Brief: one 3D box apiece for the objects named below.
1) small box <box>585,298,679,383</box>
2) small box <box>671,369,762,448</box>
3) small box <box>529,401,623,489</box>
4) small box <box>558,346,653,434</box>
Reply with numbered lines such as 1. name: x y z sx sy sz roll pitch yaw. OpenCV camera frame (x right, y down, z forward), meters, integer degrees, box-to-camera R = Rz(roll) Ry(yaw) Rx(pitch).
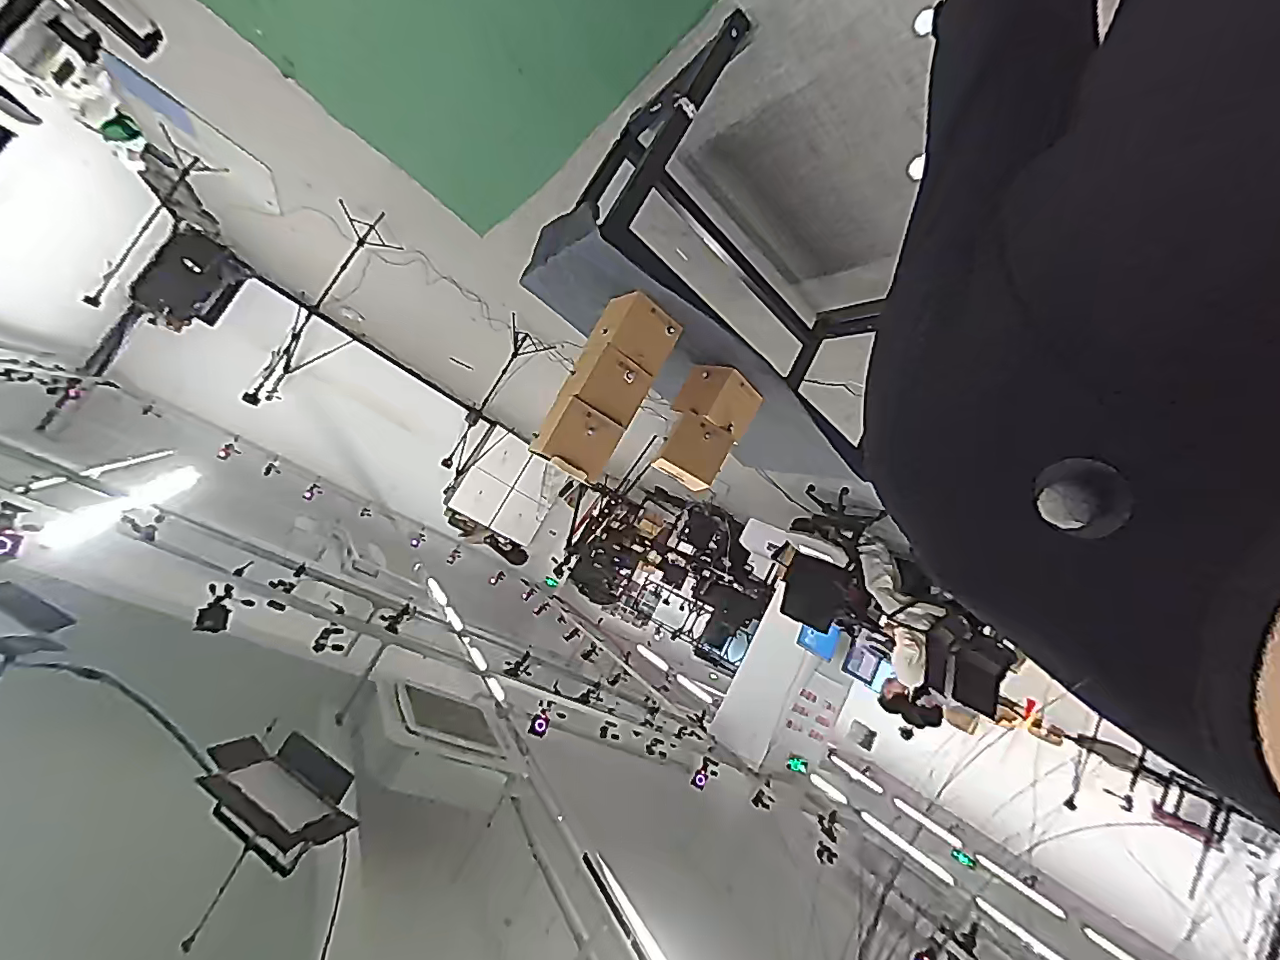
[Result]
1. small box: -0.016 -0.382 1.487 0.168 0.176 0.179 33 172 -30
2. small box: 0.233 -0.221 1.632 0.168 0.176 0.179 36 170 -38
3. small box: -0.168 -0.096 1.431 0.168 0.176 0.179 30 173 -23
4. small box: -0.092 -0.241 1.461 0.168 0.176 0.179 31 171 -26
